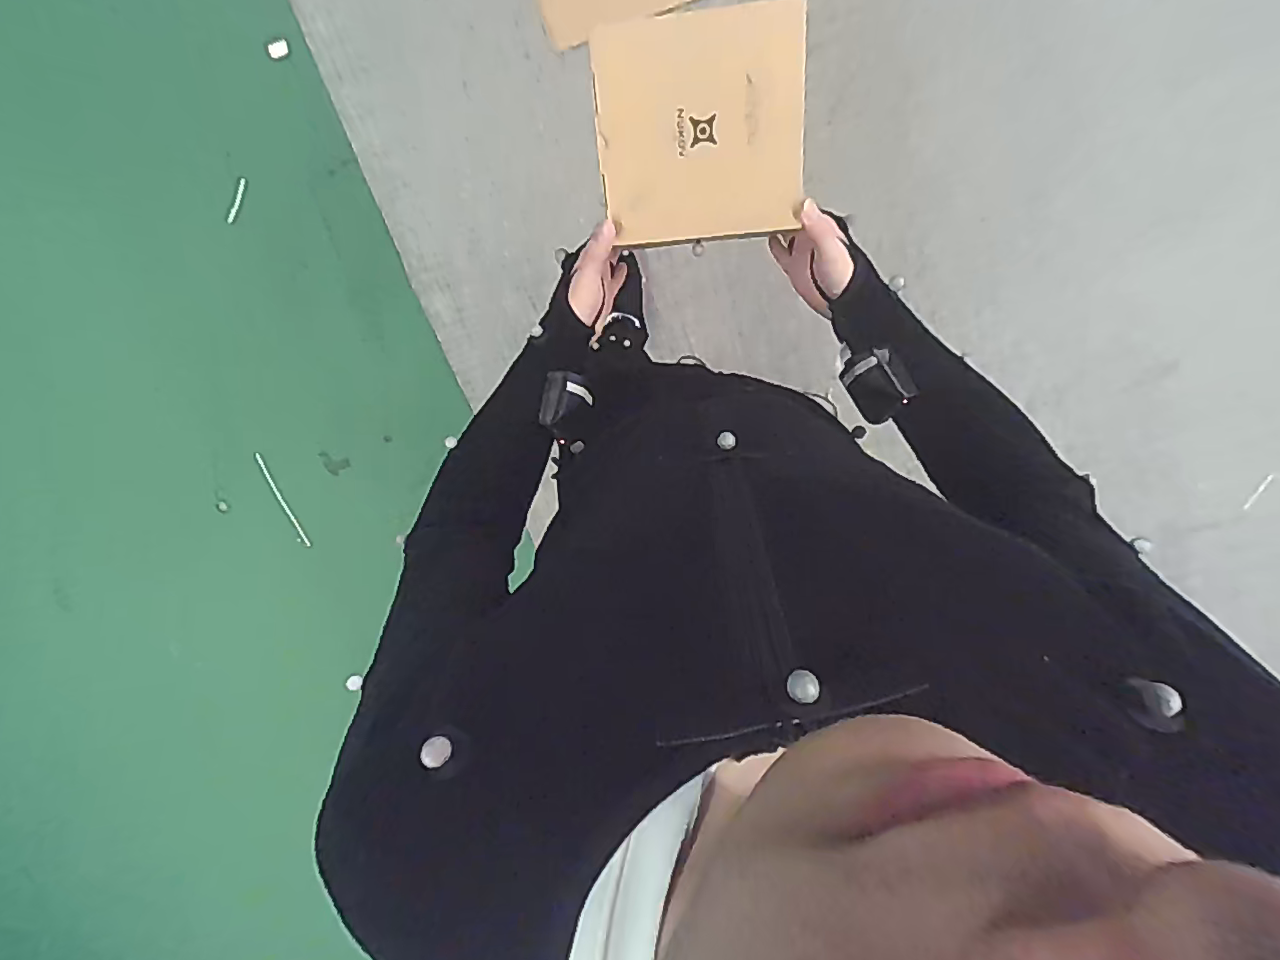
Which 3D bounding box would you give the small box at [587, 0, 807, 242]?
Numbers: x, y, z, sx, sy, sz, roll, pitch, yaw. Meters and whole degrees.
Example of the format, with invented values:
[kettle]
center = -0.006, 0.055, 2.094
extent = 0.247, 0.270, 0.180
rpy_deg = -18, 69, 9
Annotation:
[small box]
center = 0.056, -0.329, 0.528
extent = 0.179, 0.176, 0.168
rpy_deg = -2, 113, 6
